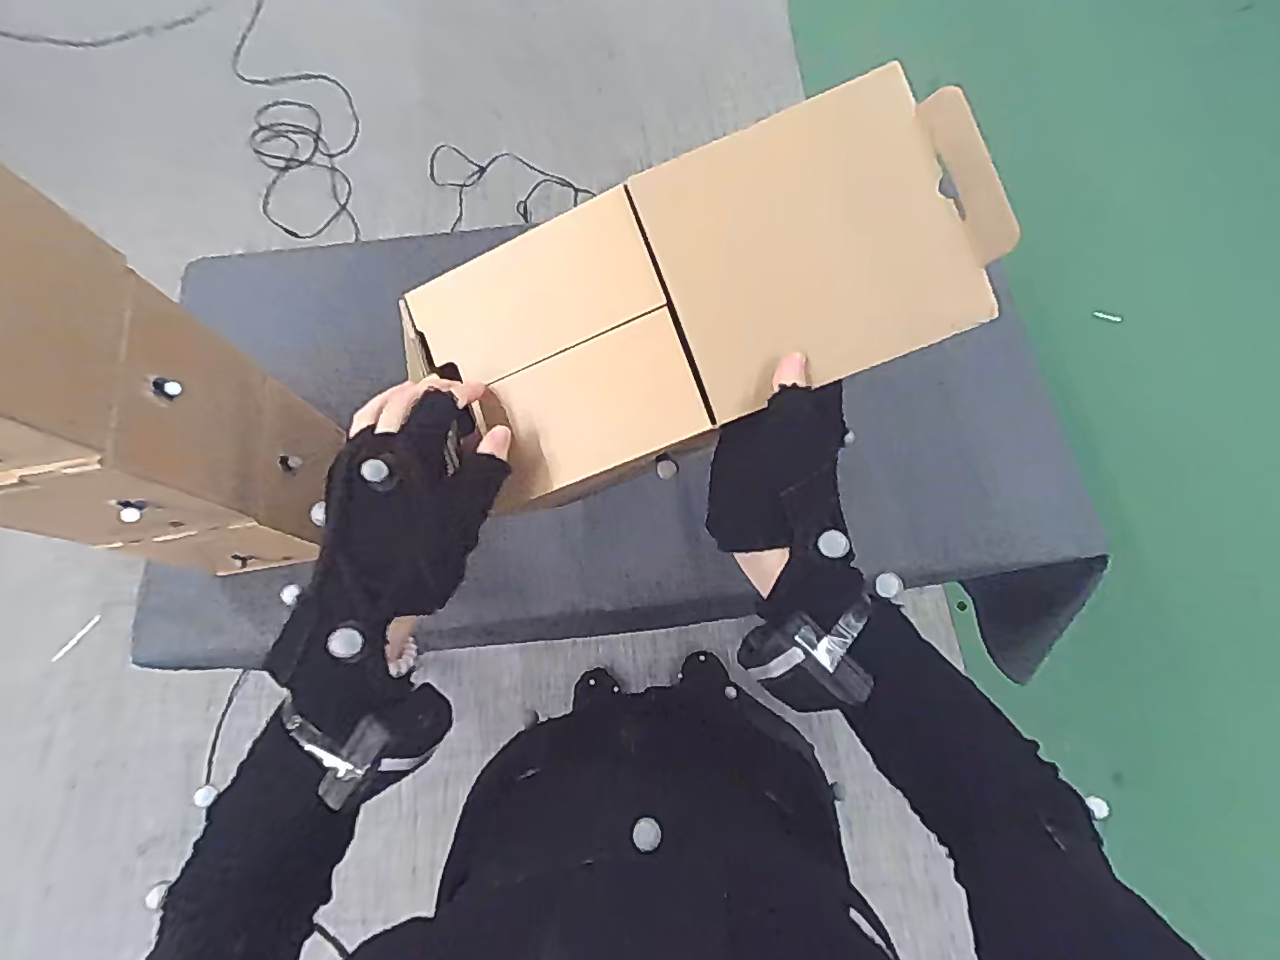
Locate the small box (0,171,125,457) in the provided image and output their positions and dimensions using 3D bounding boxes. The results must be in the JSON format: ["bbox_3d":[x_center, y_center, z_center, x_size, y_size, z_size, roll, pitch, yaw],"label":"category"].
[{"bbox_3d":[-0.477,-0.113,0.333,0.168,0.176,0.179,-10,72,-3],"label":"small box"}]

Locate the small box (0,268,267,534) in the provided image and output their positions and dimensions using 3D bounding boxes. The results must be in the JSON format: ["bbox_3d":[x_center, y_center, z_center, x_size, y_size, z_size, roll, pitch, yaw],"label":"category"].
[{"bbox_3d":[-0.473,-0.055,0.486,0.168,0.176,0.179,-8,72,-2],"label":"small box"}]

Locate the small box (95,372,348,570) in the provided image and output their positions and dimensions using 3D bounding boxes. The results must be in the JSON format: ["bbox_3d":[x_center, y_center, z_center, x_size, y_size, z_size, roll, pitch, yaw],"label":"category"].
[{"bbox_3d":[-0.470,-0.002,0.640,0.168,0.176,0.179,-9,72,-2],"label":"small box"}]
